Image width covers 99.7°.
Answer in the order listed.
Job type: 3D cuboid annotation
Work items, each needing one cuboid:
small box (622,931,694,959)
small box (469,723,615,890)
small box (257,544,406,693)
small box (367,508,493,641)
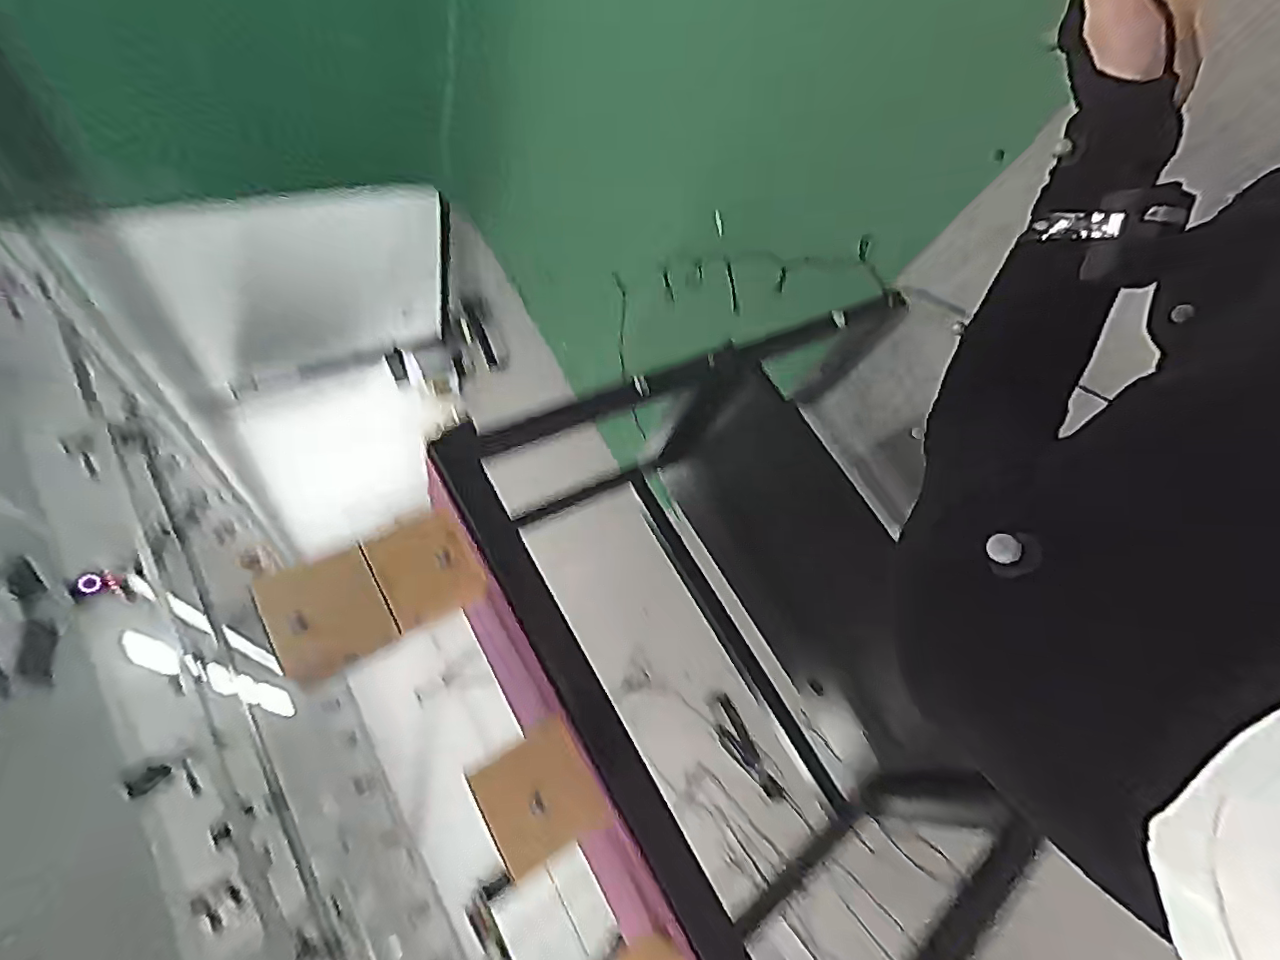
[{"bbox_3d":[0.025,0.823,0.799,0.168,0.176,0.179,56,151,16],"label":"small box"},{"bbox_3d":[-0.169,0.527,0.906,0.179,0.176,0.168,57,152,13],"label":"small box"},{"bbox_3d":[-0.520,0.240,0.939,0.179,0.176,0.168,57,149,14],"label":"small box"},{"bbox_3d":[-0.393,0.179,1.027,0.168,0.176,0.179,58,149,14],"label":"small box"}]
